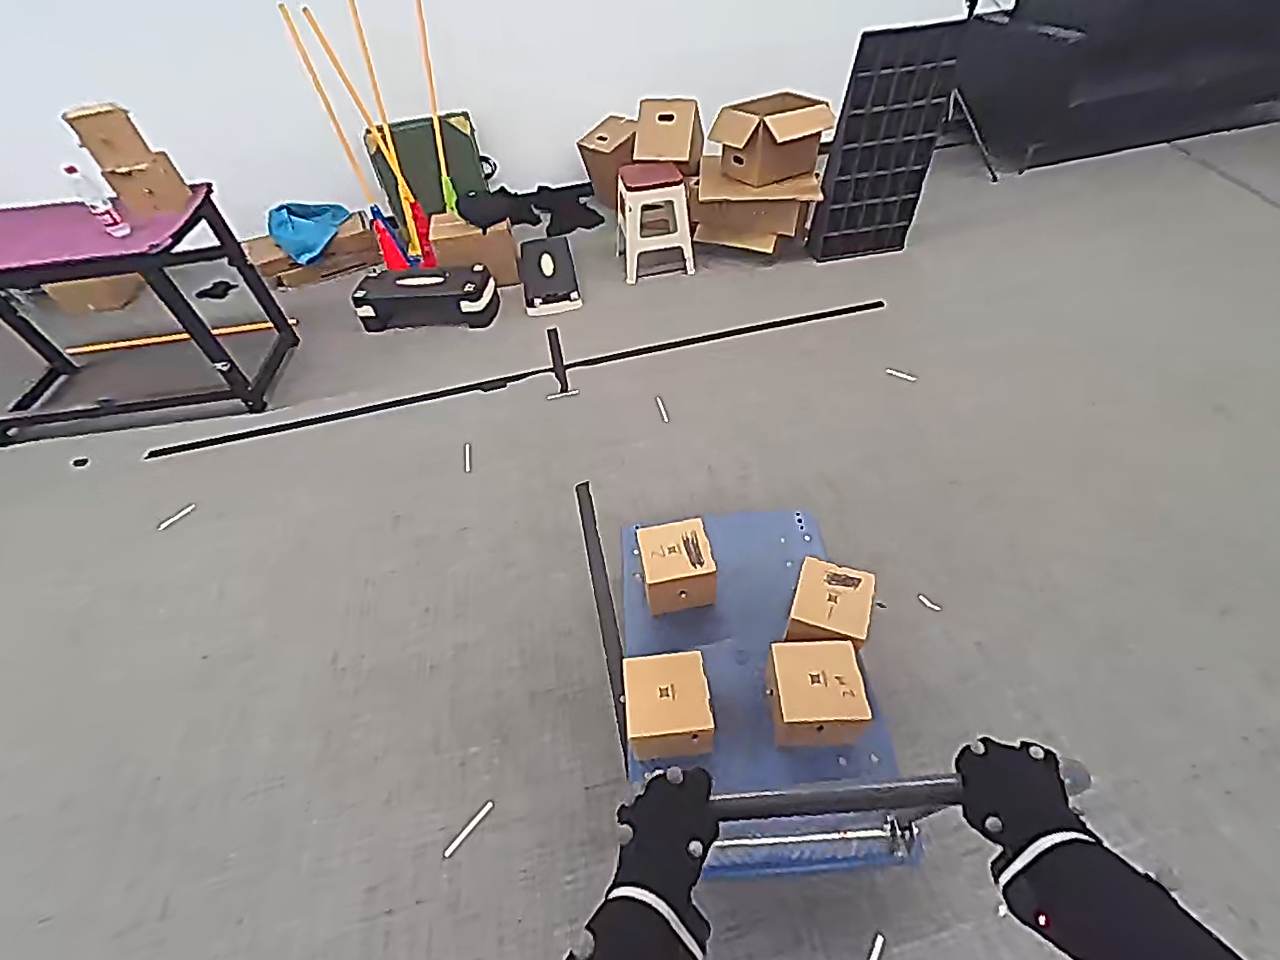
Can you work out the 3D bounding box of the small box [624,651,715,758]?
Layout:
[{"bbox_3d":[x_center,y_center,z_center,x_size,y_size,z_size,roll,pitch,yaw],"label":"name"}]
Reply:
[{"bbox_3d":[0.064,0.495,1.185,0.179,0.176,0.168,-6,49,-1],"label":"small box"}]

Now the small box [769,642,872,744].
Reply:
[{"bbox_3d":[0.380,0.465,1.175,0.179,0.176,0.168,-3,49,4],"label":"small box"}]

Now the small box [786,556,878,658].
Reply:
[{"bbox_3d":[0.454,0.317,1.295,0.168,0.176,0.179,14,53,18],"label":"small box"}]
